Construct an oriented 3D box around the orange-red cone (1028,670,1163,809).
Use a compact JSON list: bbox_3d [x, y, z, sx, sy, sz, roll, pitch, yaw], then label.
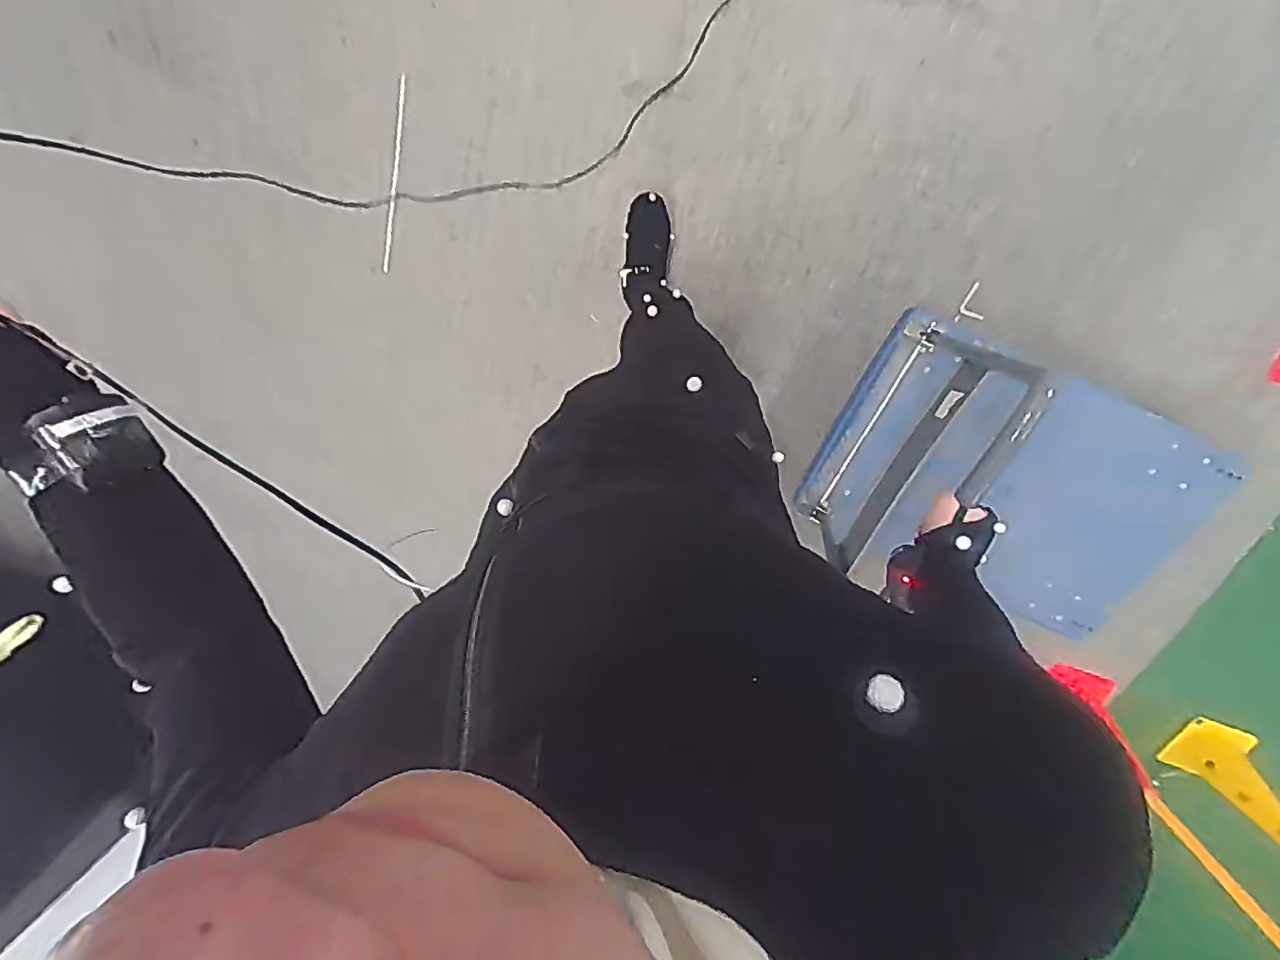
[{"bbox_3d":[1.323,0.749,1.523,0.199,0.360,0.198,19,114,0],"label":"orange-red cone"}]
